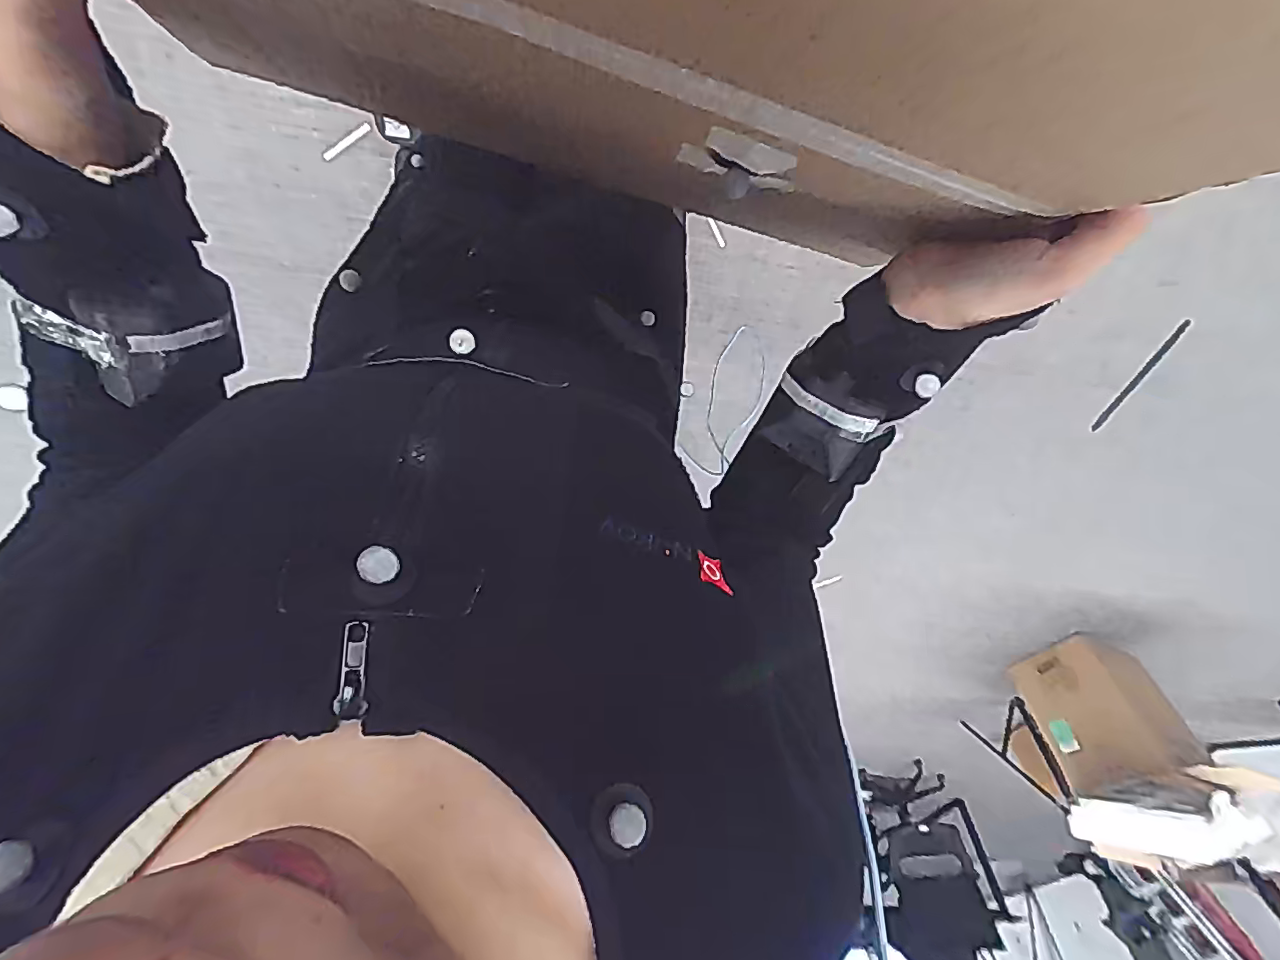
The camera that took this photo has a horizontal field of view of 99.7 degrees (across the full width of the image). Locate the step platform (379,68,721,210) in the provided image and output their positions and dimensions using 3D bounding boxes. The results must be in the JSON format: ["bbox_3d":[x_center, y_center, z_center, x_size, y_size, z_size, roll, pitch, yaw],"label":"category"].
[{"bbox_3d":[-0.139,-0.774,1.052,0.684,0.204,0.286,11,132,-12],"label":"step platform"}]
